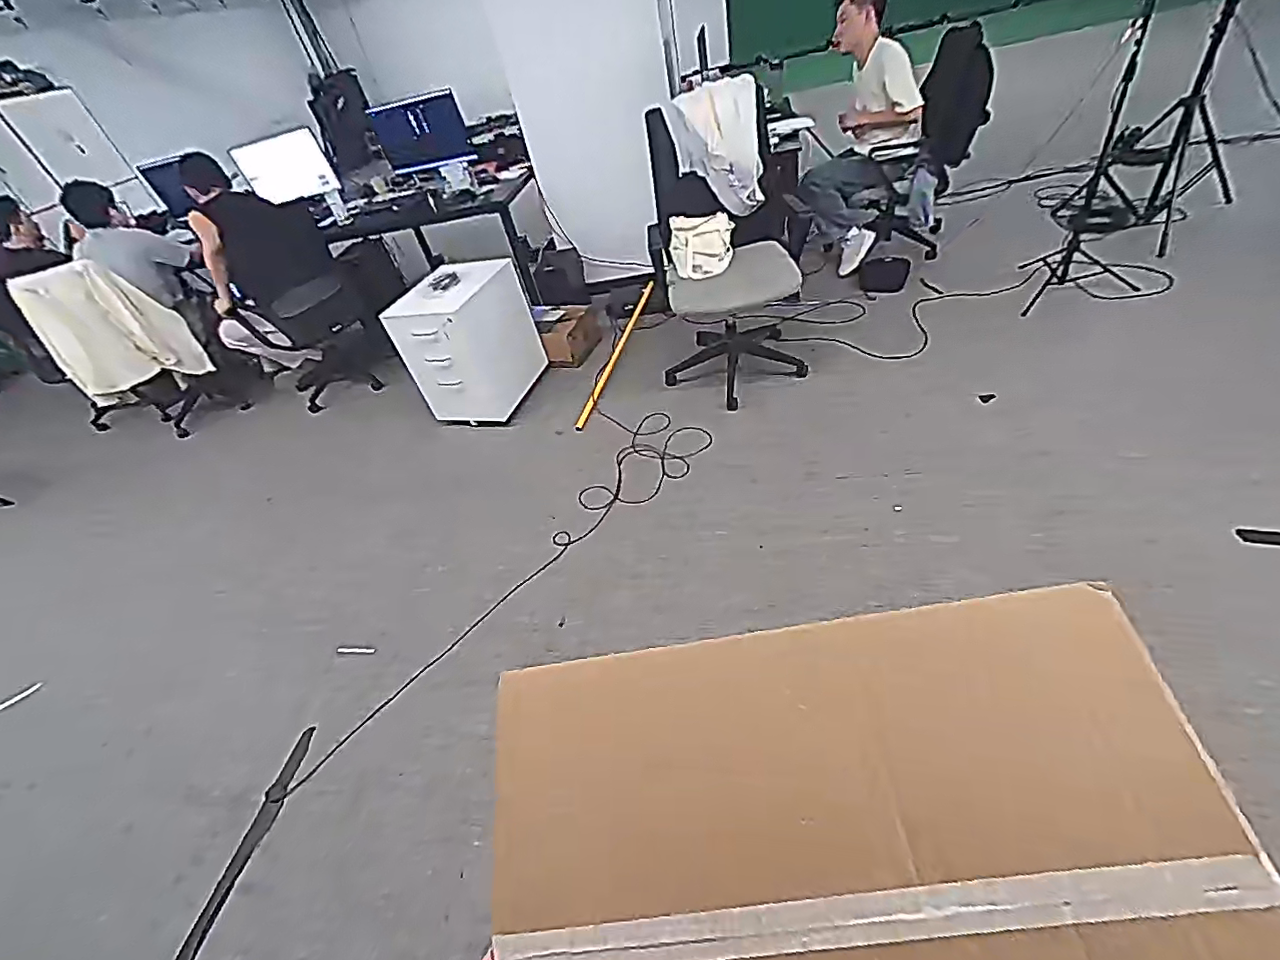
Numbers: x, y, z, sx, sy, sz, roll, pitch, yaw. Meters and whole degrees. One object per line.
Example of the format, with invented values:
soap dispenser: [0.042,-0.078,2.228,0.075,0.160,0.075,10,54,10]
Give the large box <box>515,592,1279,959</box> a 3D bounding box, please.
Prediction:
large box: [0.146,0.314,0.420,0.408,0.320,0.320,-11,59,6]
